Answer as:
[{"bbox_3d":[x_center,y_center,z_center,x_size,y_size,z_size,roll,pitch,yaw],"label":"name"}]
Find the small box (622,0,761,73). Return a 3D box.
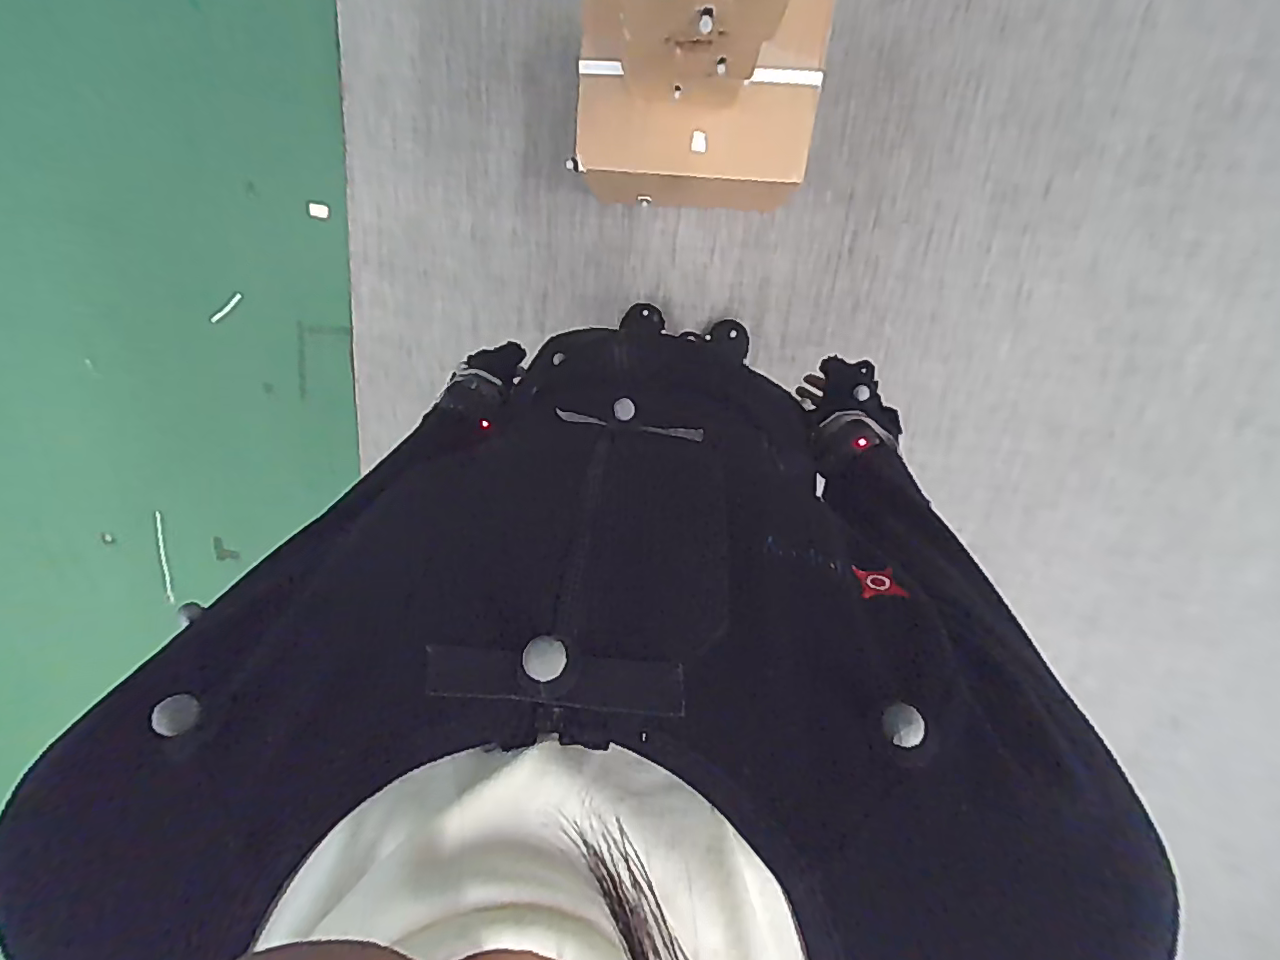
[{"bbox_3d":[0.071,-0.625,0.663,0.168,0.176,0.179,4,113,4],"label":"small box"}]

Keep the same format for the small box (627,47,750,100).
[{"bbox_3d":[0.081,-0.689,0.812,0.179,0.176,0.168,6,115,4],"label":"small box"}]

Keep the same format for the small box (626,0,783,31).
[{"bbox_3d":[0.068,-0.558,0.514,0.168,0.176,0.179,4,115,4],"label":"small box"}]
